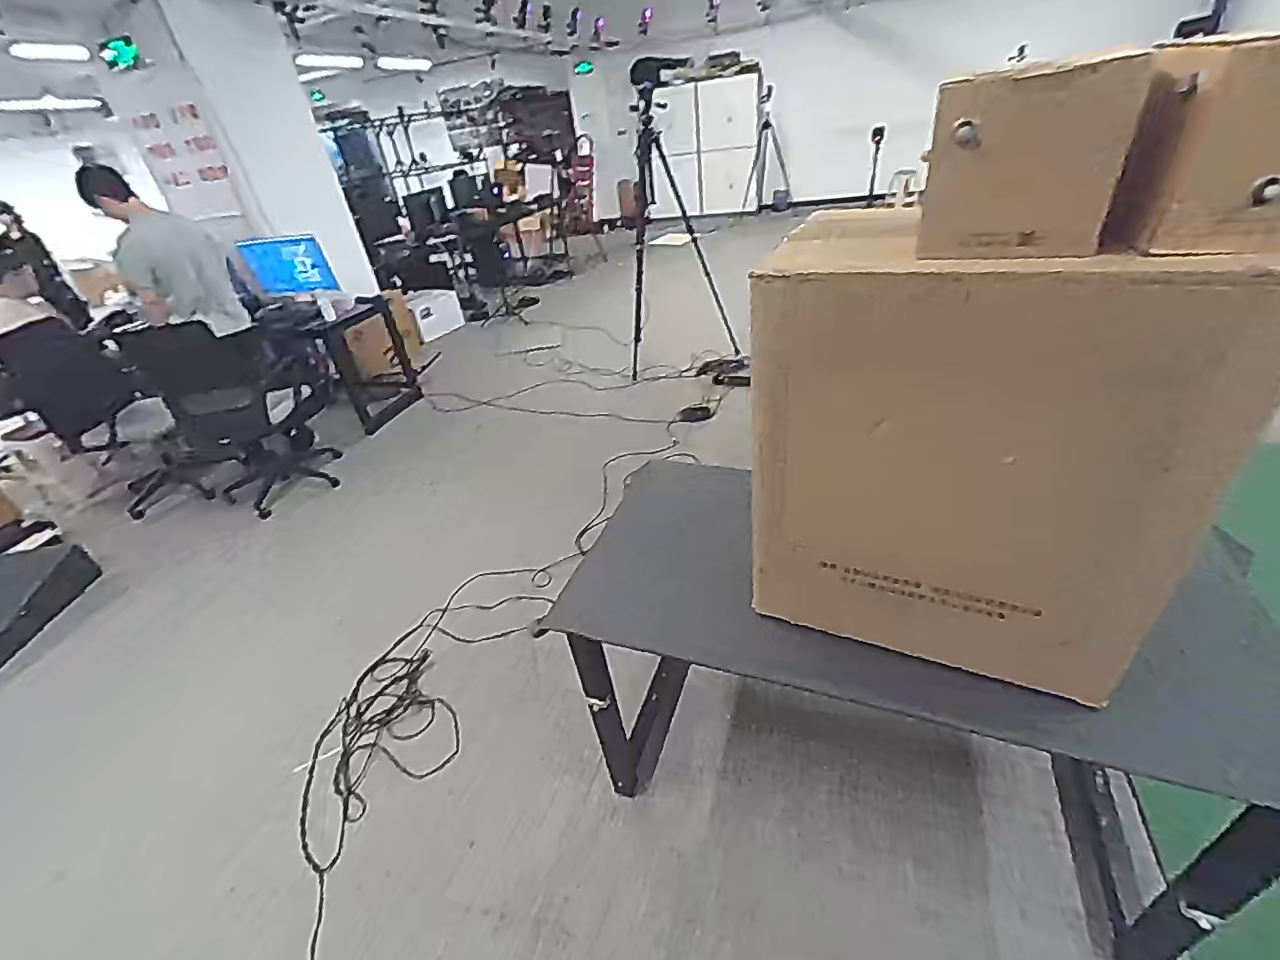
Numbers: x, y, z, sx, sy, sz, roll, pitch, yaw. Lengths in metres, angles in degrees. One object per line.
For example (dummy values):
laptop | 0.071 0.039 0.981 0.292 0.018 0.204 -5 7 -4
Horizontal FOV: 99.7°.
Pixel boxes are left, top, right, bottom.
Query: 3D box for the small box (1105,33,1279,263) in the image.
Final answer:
small box | 0.591 -0.314 0.510 0.168 0.176 0.179 7 40 16
